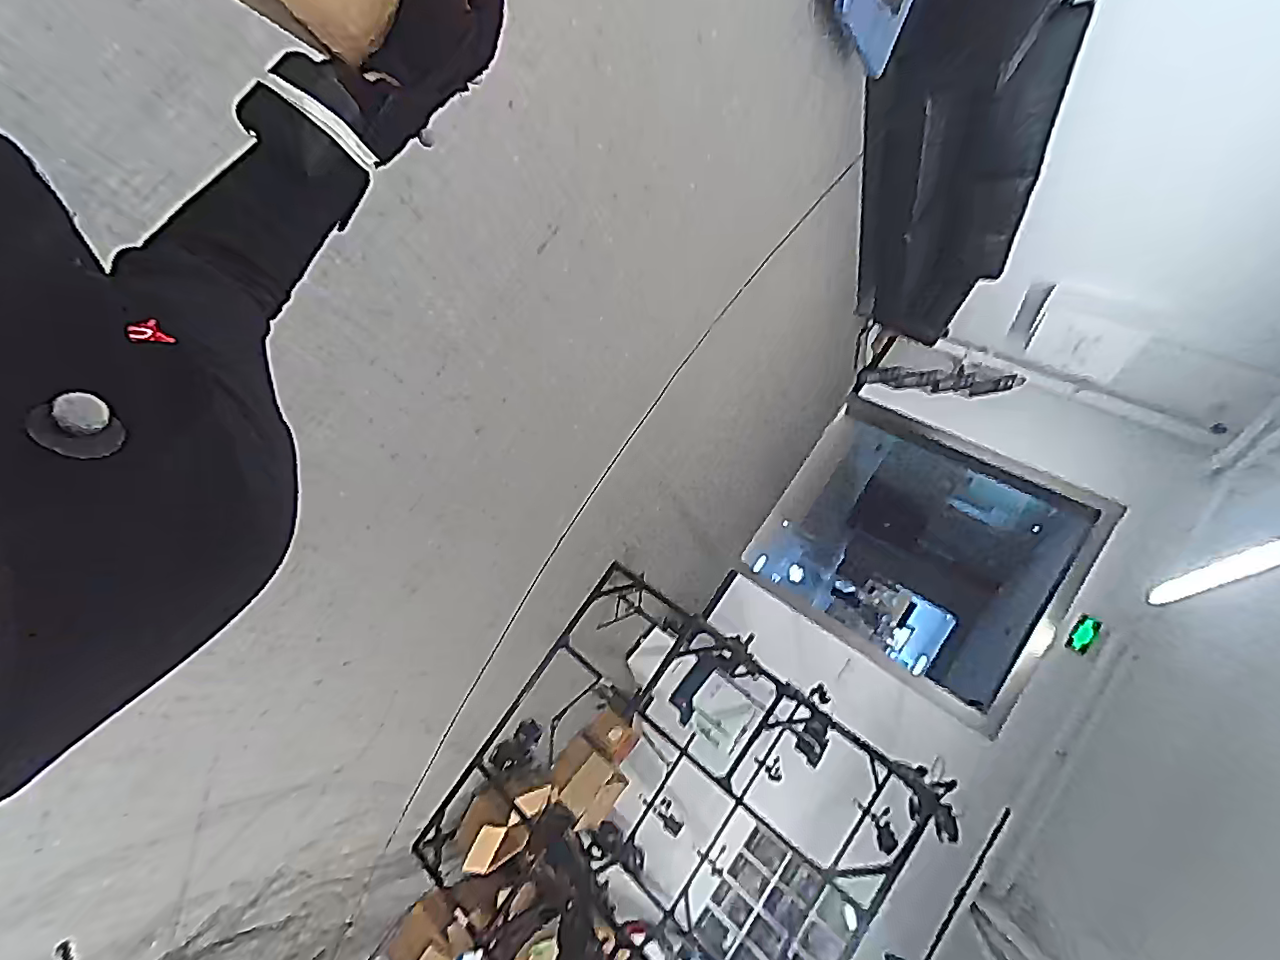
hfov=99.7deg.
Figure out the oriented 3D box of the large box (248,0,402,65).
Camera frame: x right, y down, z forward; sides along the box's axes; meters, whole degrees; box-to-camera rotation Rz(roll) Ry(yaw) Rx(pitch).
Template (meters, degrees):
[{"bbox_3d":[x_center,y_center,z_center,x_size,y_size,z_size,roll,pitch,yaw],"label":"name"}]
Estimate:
[{"bbox_3d":[-0.301,-0.554,0.277,0.320,0.320,0.408,-50,156,6],"label":"large box"}]
